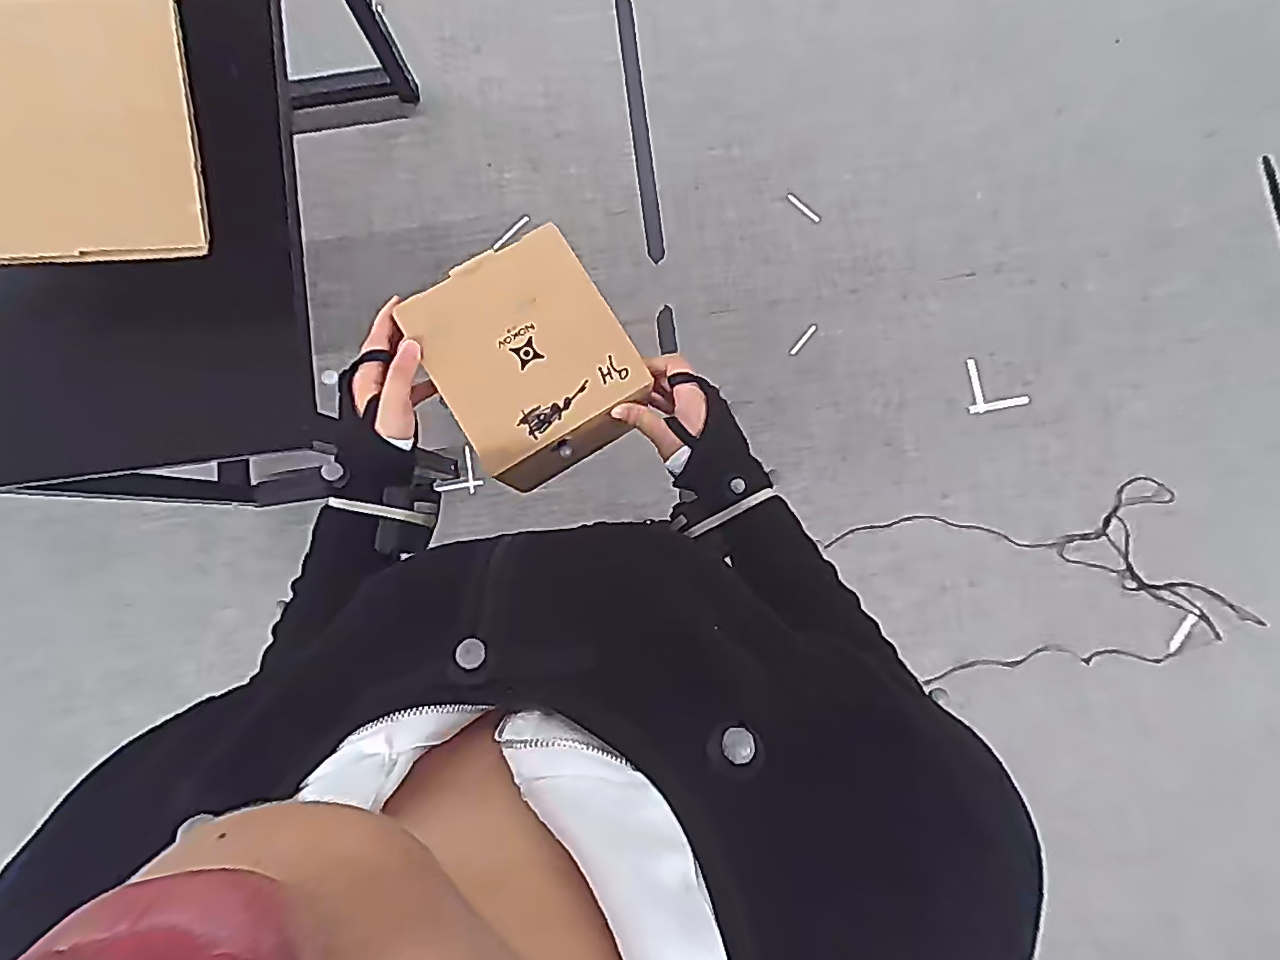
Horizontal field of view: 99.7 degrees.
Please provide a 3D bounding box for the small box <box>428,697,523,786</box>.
[{"bbox_3d":[-0.413,0.674,1.380,0.179,0.176,0.168,-11,86,-2],"label":"small box"}]

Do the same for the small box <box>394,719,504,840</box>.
[{"bbox_3d":[-0.419,0.663,1.219,0.179,0.176,0.168,-15,85,0],"label":"small box"}]
